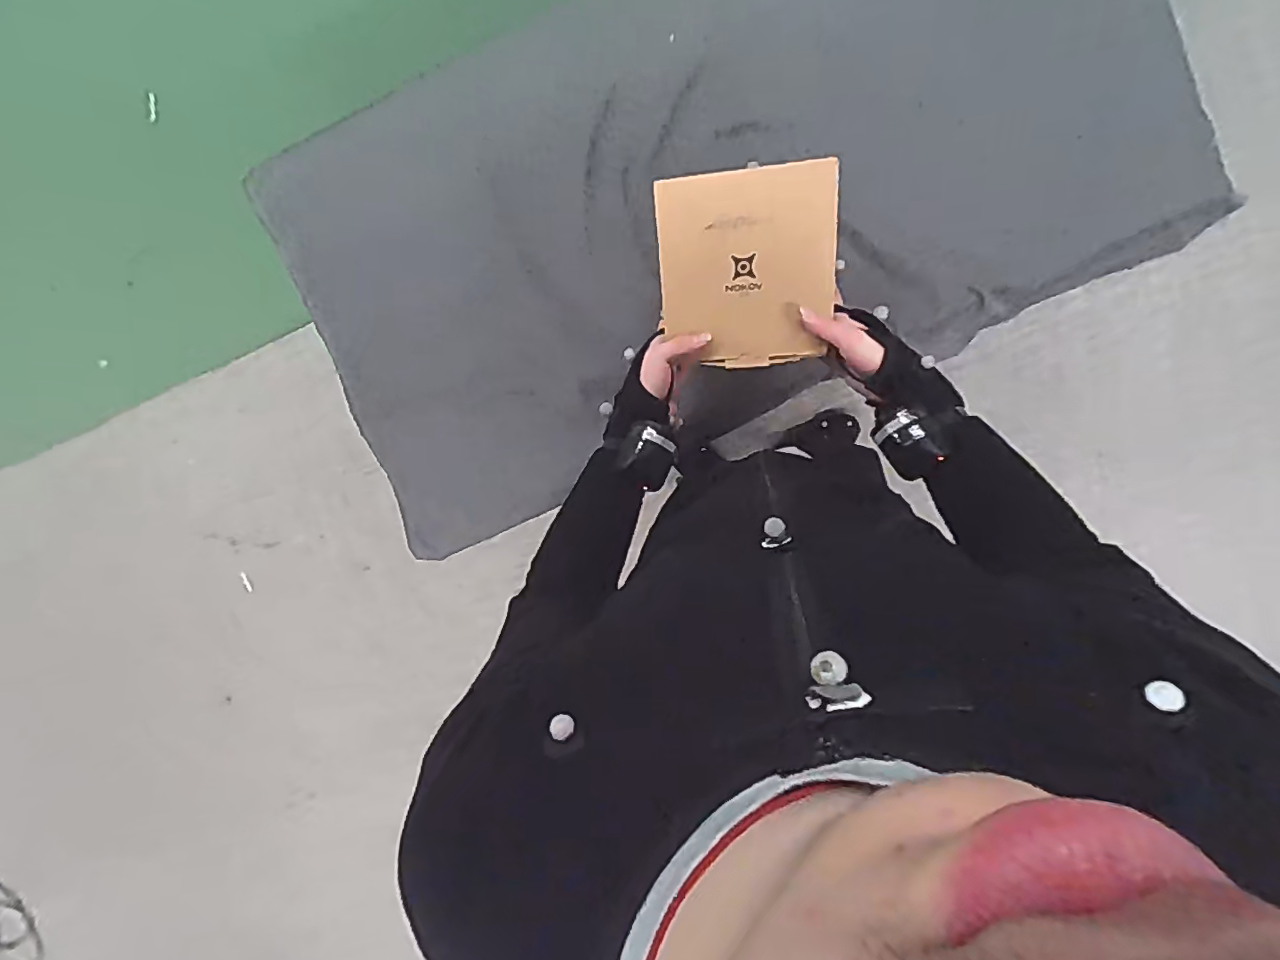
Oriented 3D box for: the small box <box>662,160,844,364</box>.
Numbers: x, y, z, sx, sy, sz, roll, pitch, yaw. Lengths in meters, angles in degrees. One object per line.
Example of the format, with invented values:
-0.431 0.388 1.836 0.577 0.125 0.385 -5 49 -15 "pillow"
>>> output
0.121 -0.237 0.596 0.168 0.176 0.179 -2 114 11 "small box"
